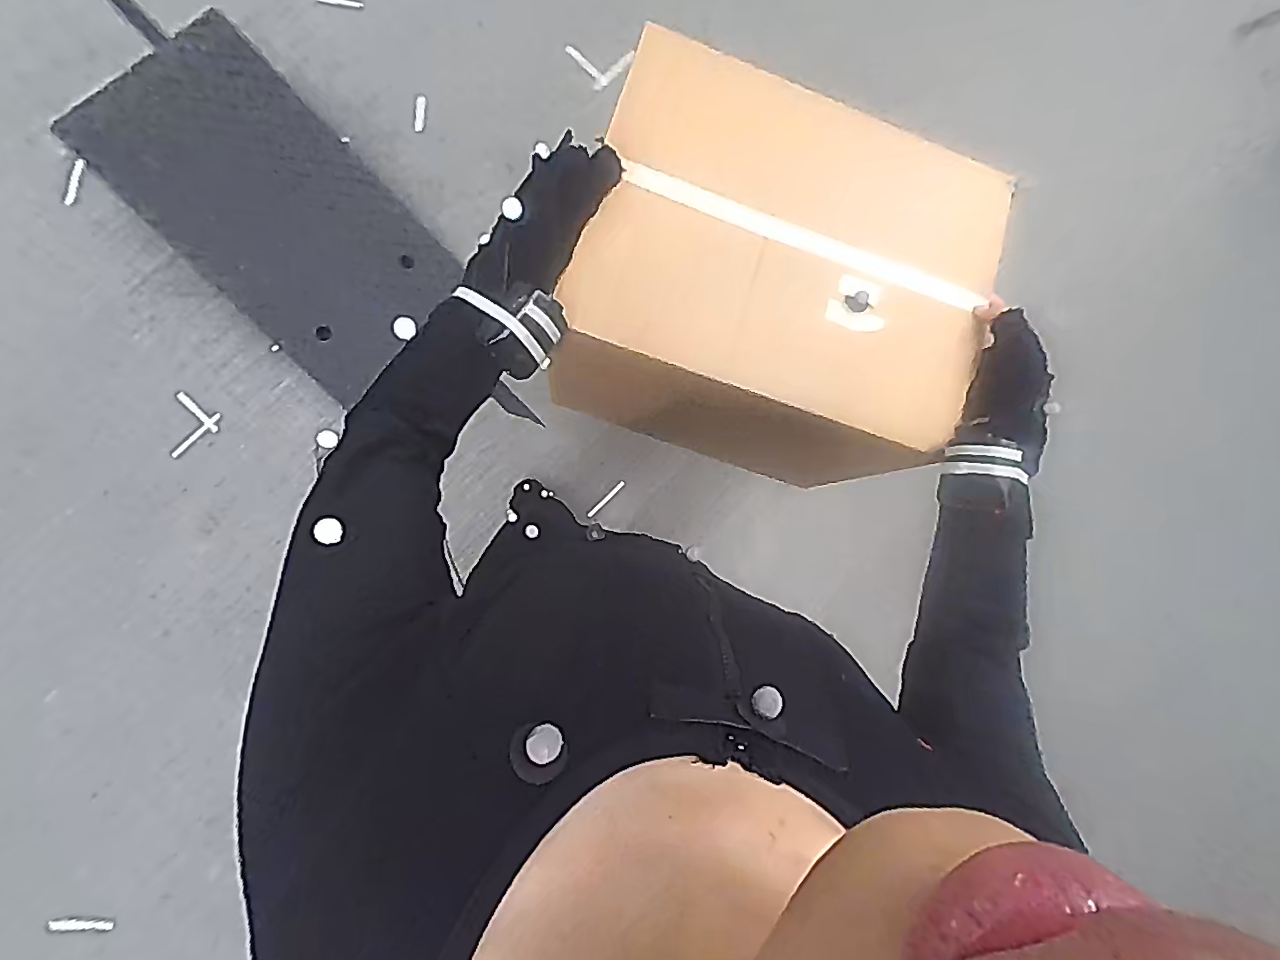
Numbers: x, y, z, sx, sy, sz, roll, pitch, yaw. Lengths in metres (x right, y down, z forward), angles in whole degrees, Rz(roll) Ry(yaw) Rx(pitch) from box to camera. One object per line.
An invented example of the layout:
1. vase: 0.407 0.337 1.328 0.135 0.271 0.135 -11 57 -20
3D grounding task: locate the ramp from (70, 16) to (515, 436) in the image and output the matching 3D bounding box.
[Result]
1. ramp: -0.848 -0.635 1.406 0.991 0.206 0.509 43 82 -1

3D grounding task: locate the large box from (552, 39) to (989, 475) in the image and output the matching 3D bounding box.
1. large box: 0.122 -0.220 0.676 0.408 0.320 0.320 17 82 -7
